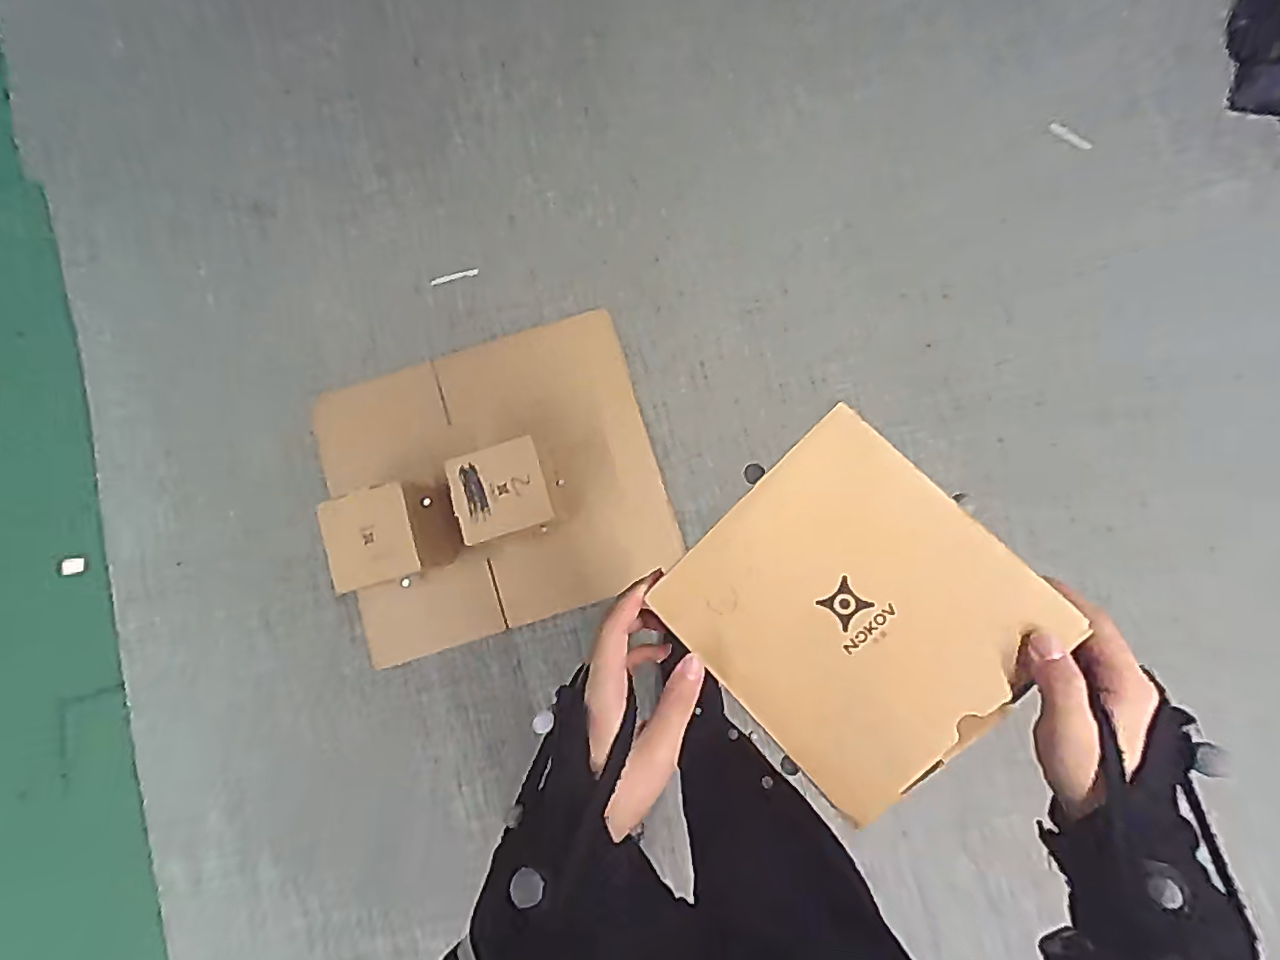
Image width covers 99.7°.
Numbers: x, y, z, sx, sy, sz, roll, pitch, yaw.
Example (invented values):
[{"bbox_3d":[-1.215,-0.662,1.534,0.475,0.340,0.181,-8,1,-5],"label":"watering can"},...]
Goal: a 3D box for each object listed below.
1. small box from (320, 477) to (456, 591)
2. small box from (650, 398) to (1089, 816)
[{"bbox_3d":[-0.489,0.106,1.071,0.168,0.176,0.179,-17,86,1],"label":"small box"},{"bbox_3d":[0.134,0.074,0.380,0.179,0.176,0.168,45,96,11],"label":"small box"}]
